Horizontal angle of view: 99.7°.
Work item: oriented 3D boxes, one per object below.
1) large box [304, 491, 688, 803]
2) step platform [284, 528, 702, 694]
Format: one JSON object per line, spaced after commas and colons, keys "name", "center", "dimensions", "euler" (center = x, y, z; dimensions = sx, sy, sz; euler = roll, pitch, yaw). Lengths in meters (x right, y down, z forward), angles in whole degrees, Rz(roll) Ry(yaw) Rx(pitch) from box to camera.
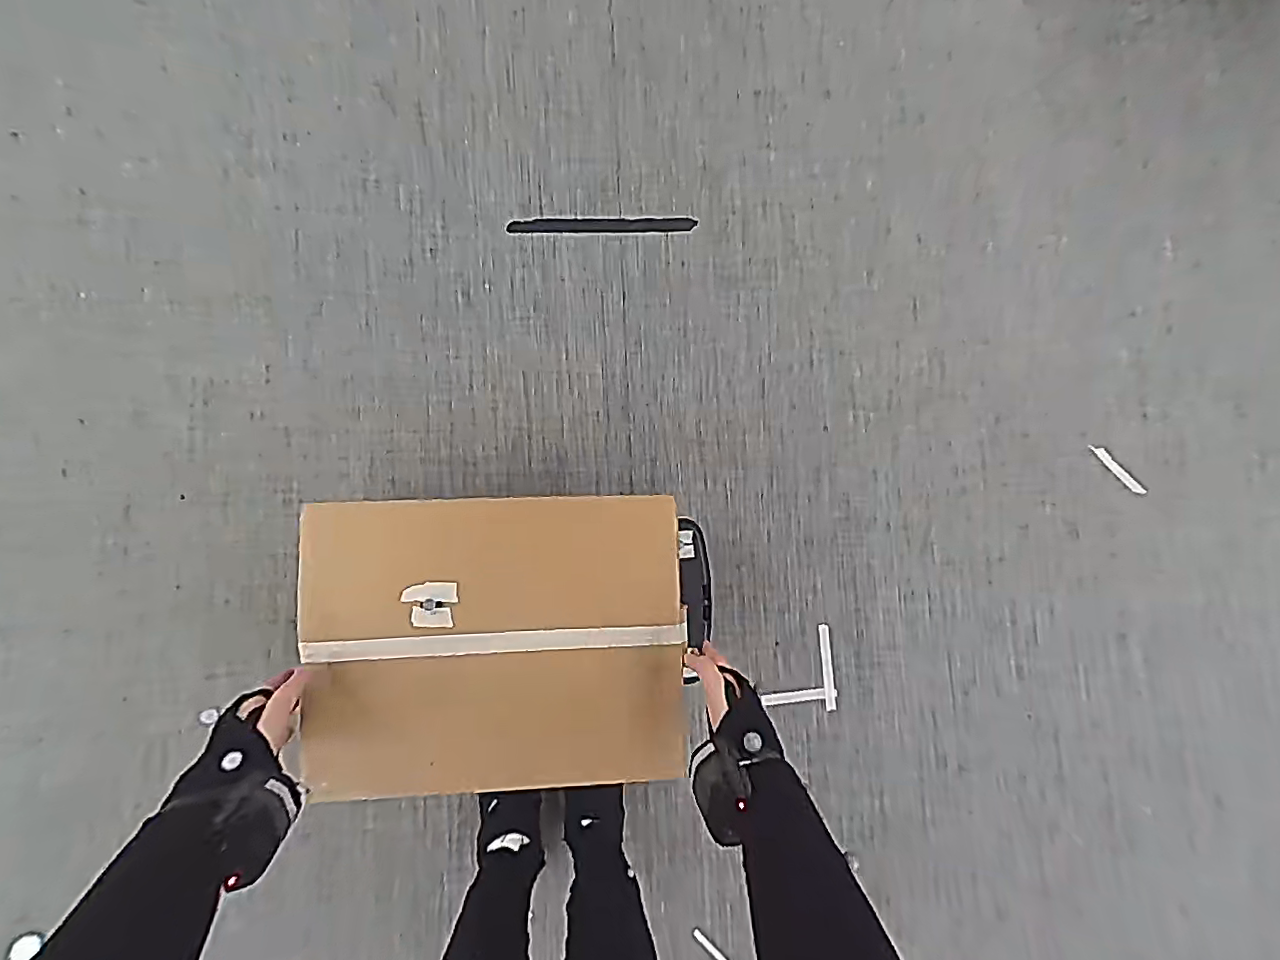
{"name": "large box", "center": [-0.160, 0.183, 0.726], "dimensions": [0.408, 0.320, 0.320], "euler": [-1, 86, -4]}
{"name": "step platform", "center": [-0.233, 0.218, 0.958], "dimensions": [0.684, 0.204, 0.286], "euler": [5, 86, -4]}
